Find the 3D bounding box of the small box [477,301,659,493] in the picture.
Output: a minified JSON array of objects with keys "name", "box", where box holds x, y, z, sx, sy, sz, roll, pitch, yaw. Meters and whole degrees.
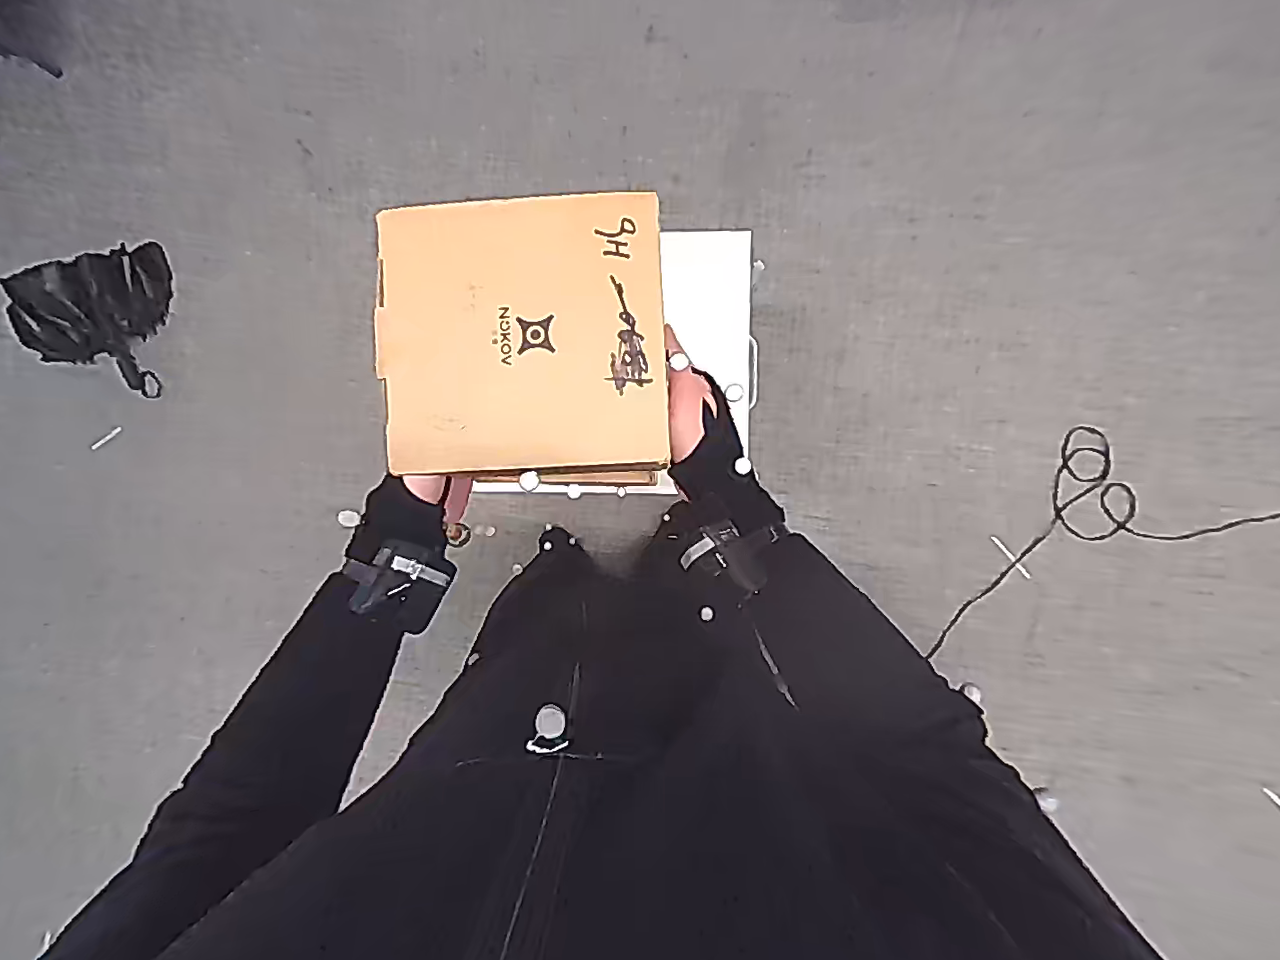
[{"name":"small box","box":[-0.065,-0.076,0.579,0.168,0.176,0.179,1,89,3]}]
